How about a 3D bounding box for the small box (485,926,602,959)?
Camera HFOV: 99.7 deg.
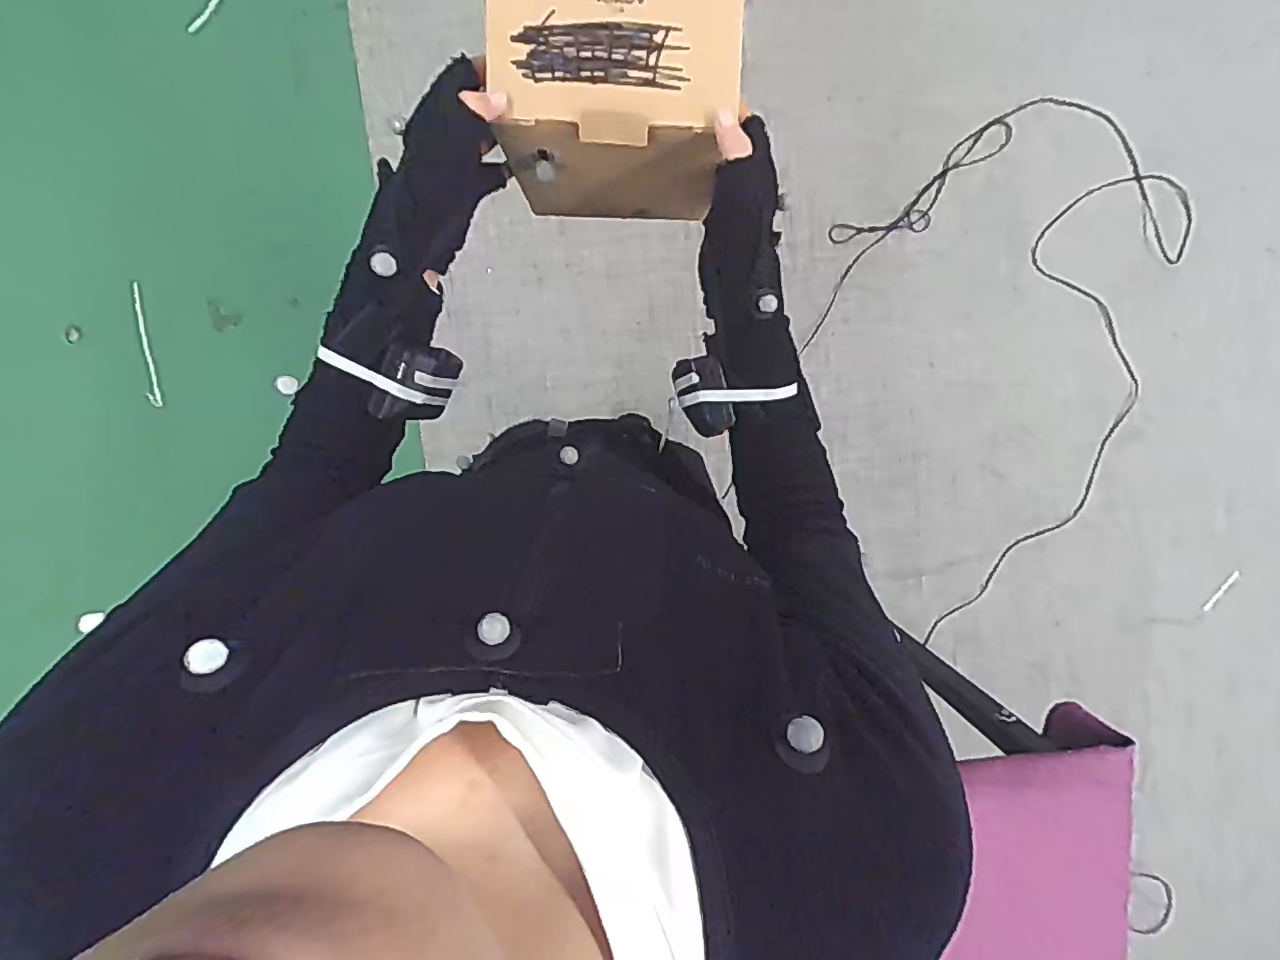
[{"bbox_3d":[-0.139,0.763,0.747,0.168,0.176,0.179,-1,97,-1],"label":"small box"}]
